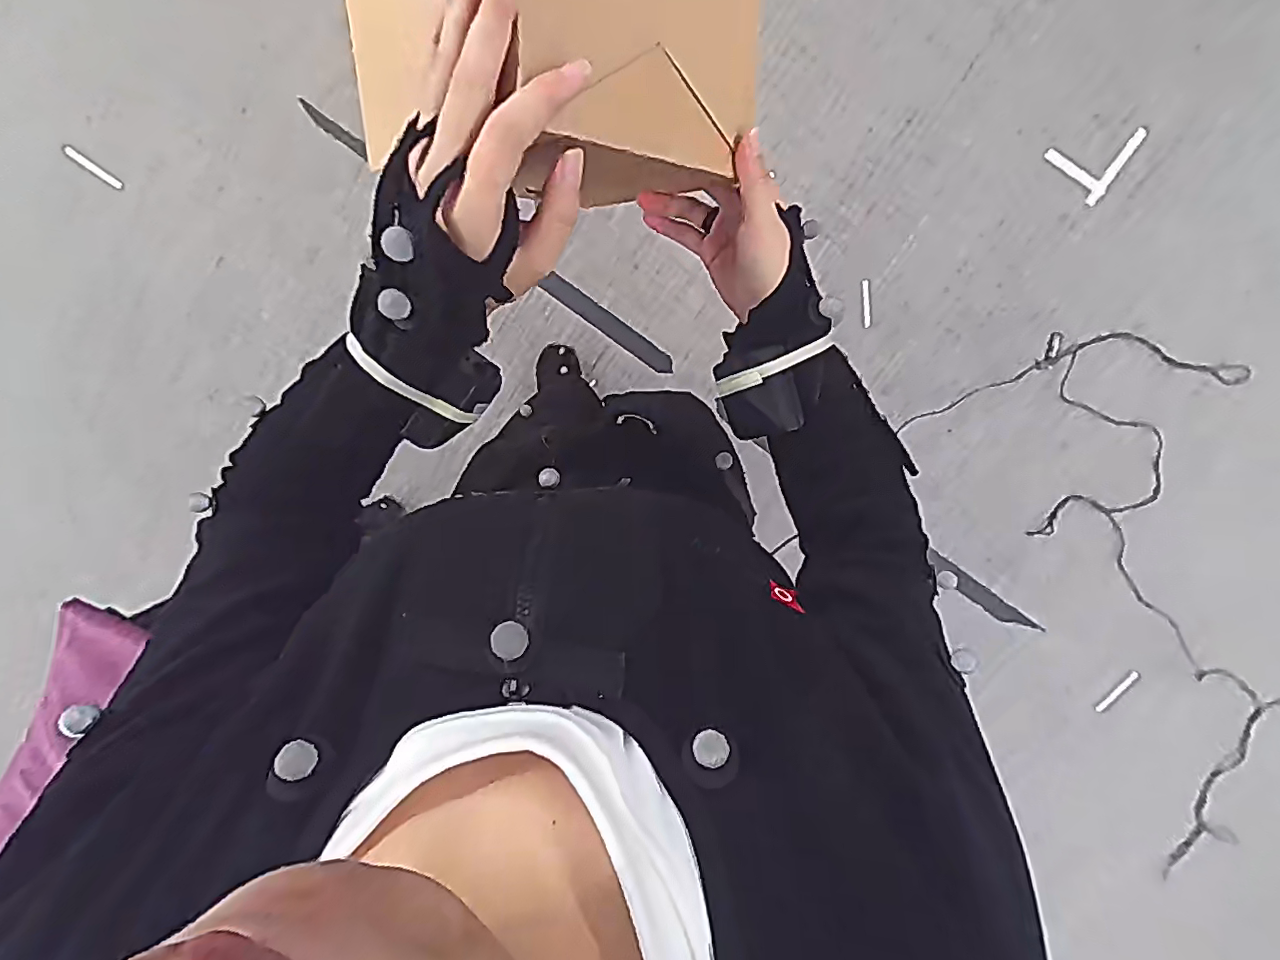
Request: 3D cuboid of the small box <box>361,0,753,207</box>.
[{"bbox_3d":[-0.043,-0.268,0.321,0.176,0.179,0.168,17,114,41],"label":"small box"}]
